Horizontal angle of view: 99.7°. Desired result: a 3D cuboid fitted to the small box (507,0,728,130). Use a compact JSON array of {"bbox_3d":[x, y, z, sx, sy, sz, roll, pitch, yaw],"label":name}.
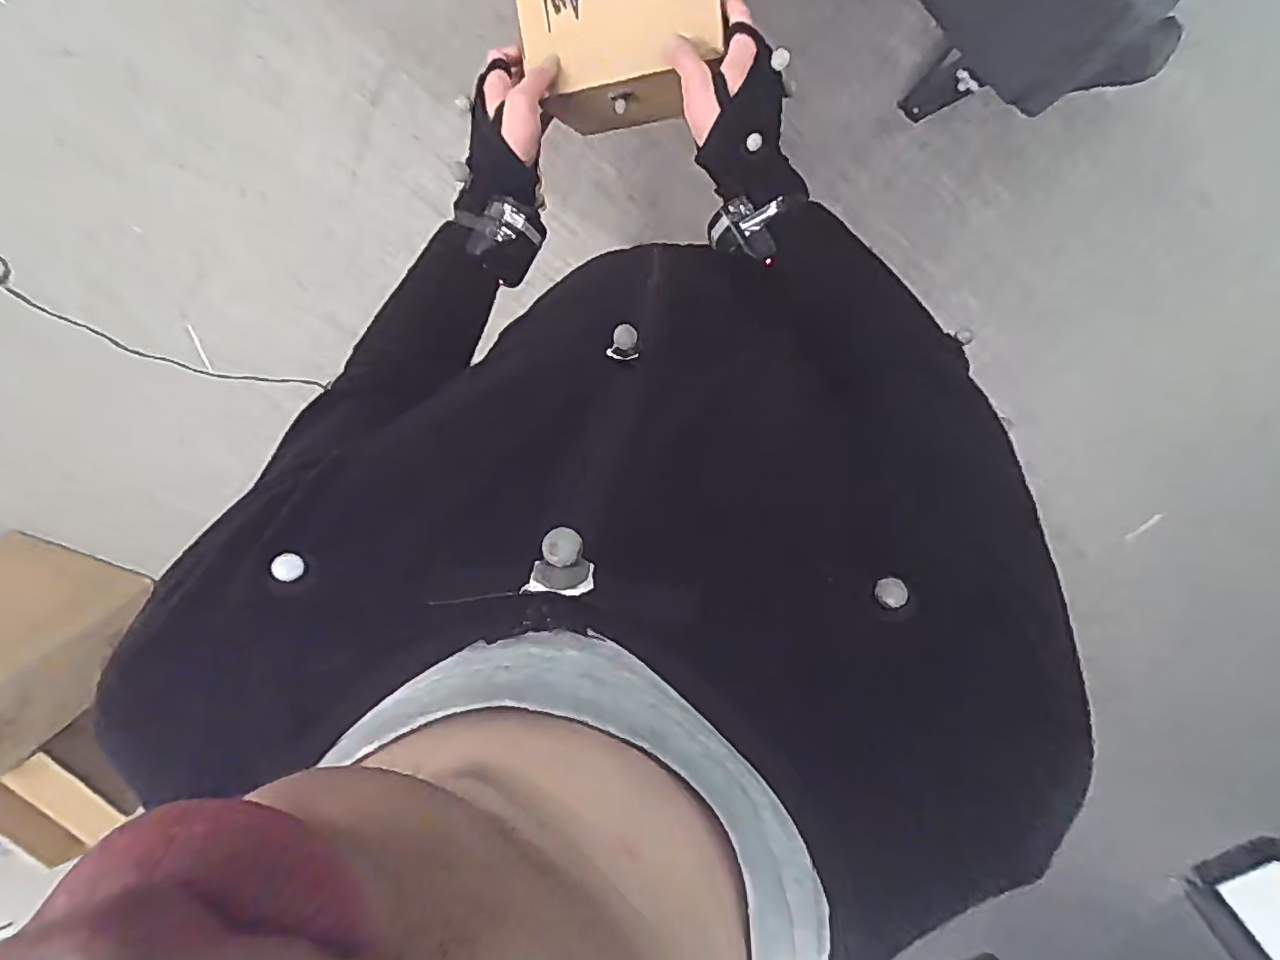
[{"bbox_3d":[-0.014,-0.447,0.503,0.179,0.176,0.168,-3,112,12],"label":"small box"}]
